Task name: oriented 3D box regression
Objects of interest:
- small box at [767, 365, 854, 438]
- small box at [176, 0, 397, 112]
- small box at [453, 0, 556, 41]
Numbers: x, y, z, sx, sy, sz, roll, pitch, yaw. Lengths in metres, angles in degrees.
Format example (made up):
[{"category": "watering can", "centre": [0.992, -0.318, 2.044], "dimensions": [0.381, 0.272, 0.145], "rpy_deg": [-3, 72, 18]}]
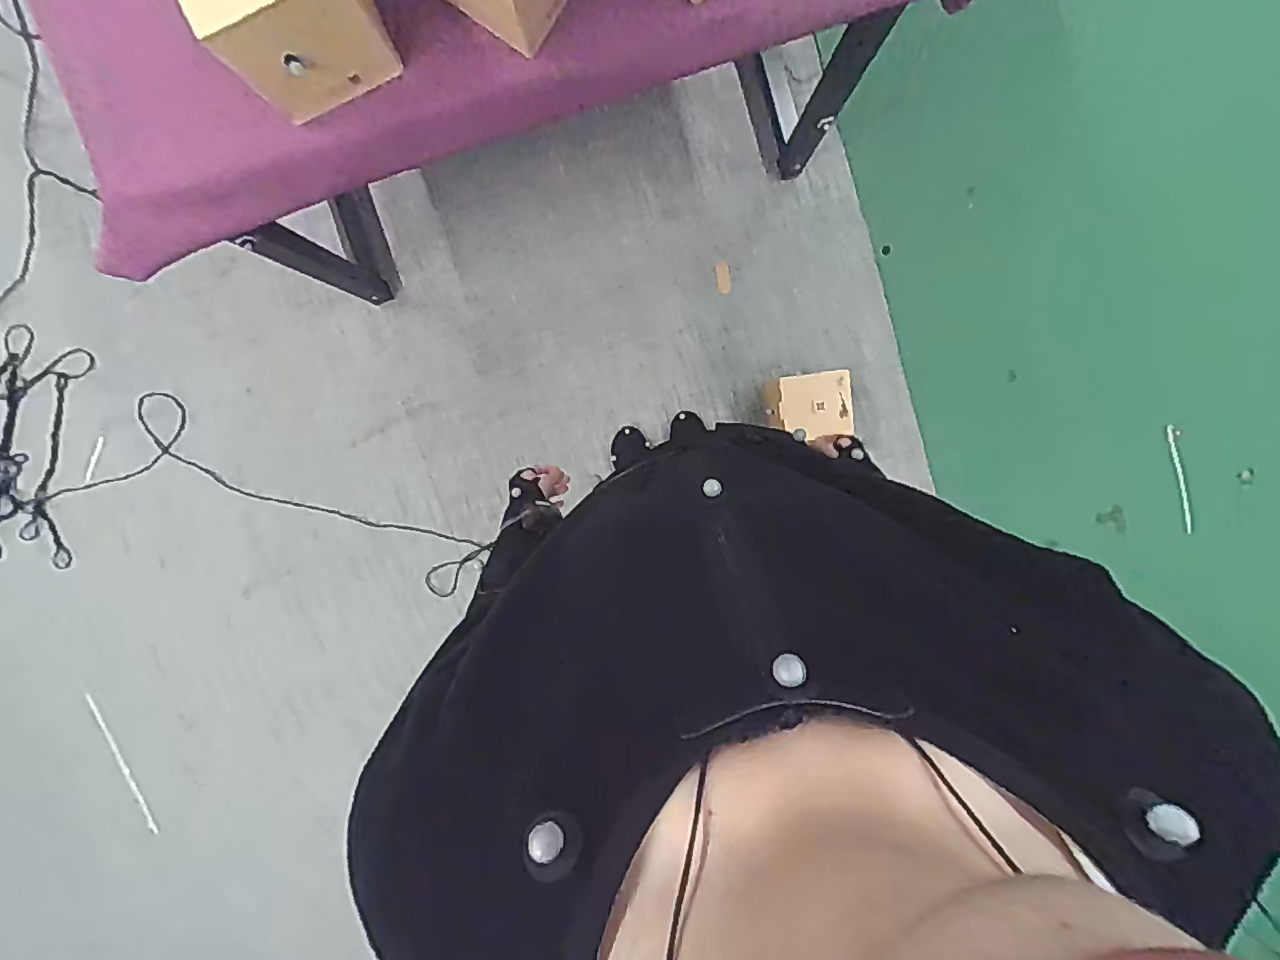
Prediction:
[{"category": "small box", "centre": [0.433, -0.199, 1.402], "dimensions": [0.179, 0.176, 0.168], "rpy_deg": [-7, 97, 1]}, {"category": "small box", "centre": [-0.421, -0.575, 0.630], "dimensions": [0.168, 0.176, 0.179], "rpy_deg": [-25, 94, 3]}, {"category": "small box", "centre": [-0.171, -0.662, 0.618], "dimensions": [0.179, 0.176, 0.168], "rpy_deg": [34, 95, -3]}]
